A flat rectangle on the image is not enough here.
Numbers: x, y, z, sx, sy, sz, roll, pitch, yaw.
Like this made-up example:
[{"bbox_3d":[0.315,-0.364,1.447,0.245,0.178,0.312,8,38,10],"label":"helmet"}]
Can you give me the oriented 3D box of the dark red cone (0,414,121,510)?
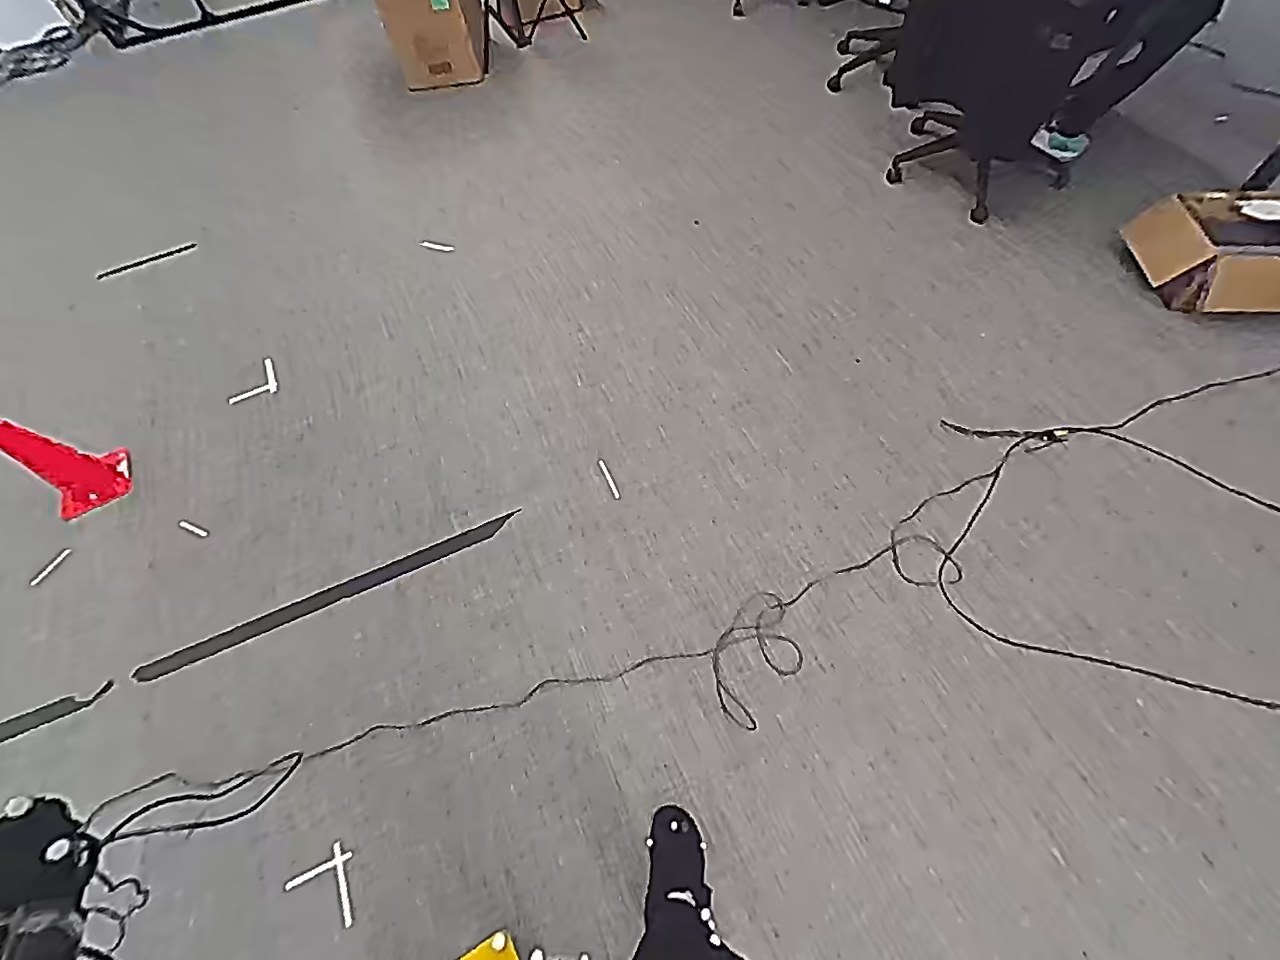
[{"bbox_3d":[-1.705,-0.099,1.504,0.202,0.394,0.201,-30,63,-12],"label":"dark red cone"}]
